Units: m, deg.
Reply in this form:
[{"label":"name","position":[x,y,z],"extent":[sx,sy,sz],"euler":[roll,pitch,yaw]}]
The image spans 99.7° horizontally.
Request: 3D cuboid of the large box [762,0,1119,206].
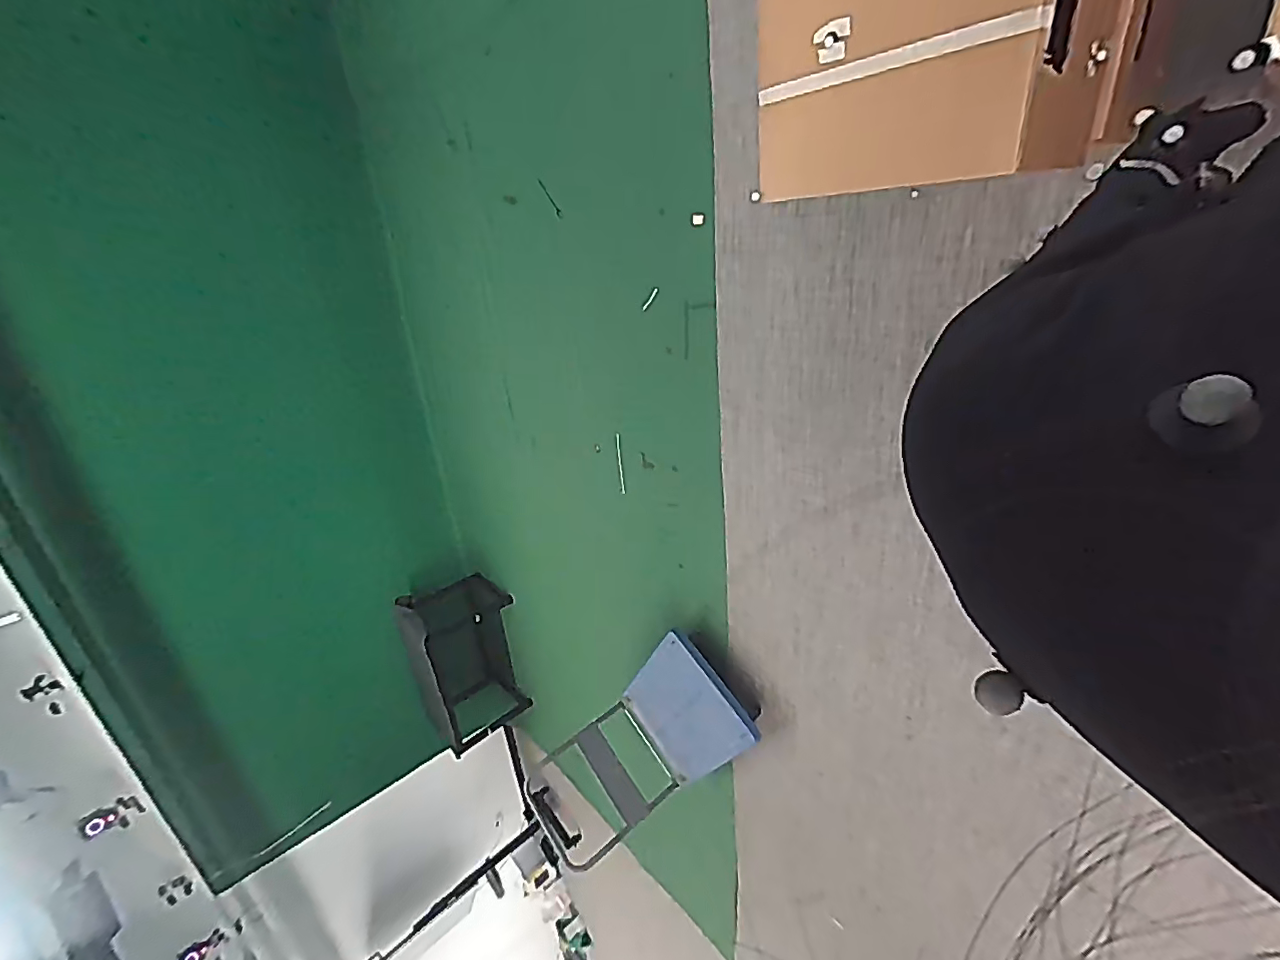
[{"label":"large box","position":[0.449,-0.634,0.846],"extent":[0.408,0.320,0.320],"euler":[22,127,45]}]
